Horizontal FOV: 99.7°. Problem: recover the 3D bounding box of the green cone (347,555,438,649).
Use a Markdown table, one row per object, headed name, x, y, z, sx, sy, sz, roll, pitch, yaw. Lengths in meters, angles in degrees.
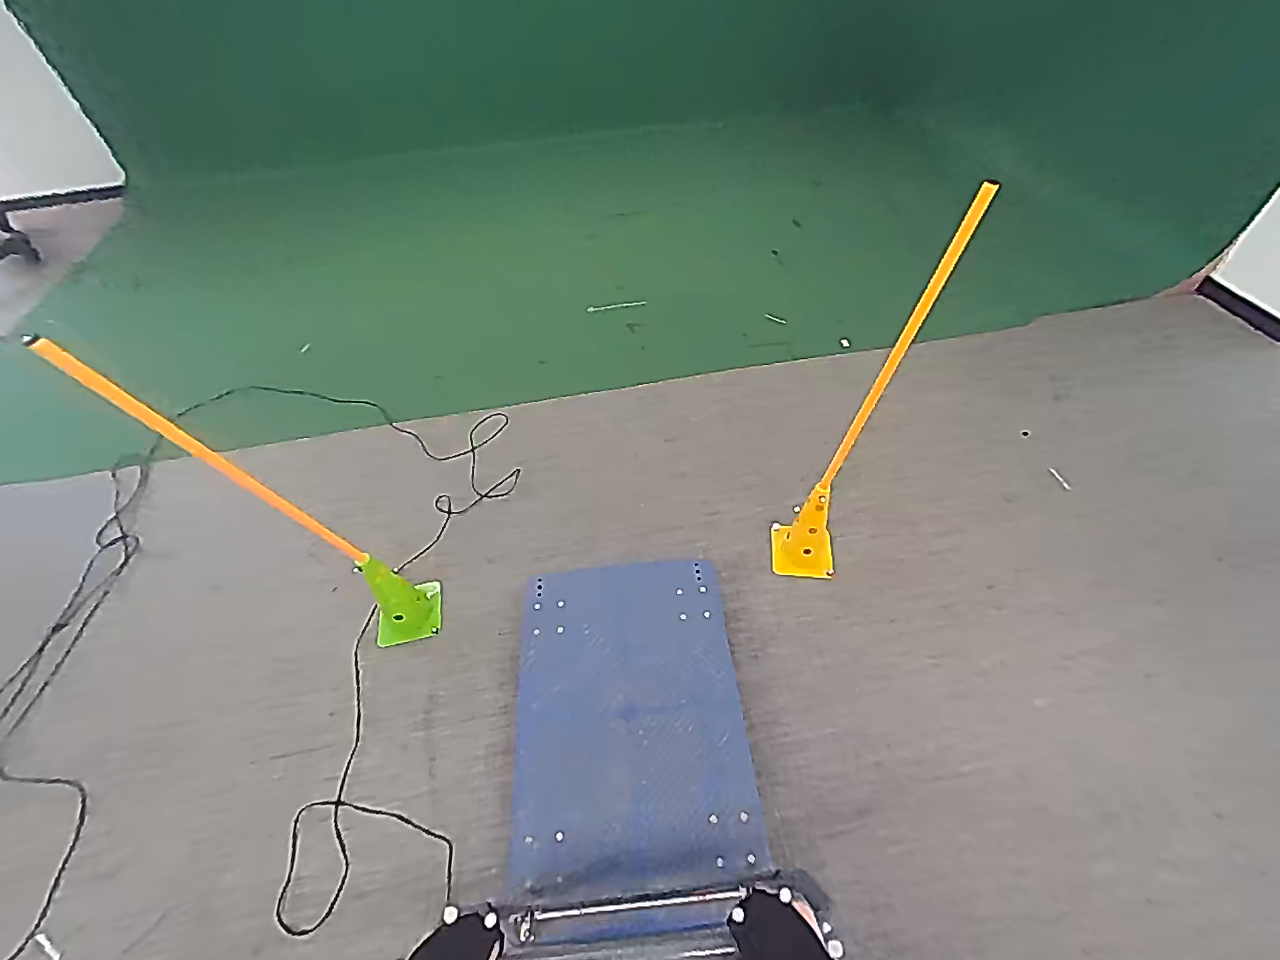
| name | x | y | z | sx | sy | sz | roll | pitch | yaw |
| --- | --- | --- | --- | --- | --- | --- | --- | --- | --- |
| green cone | -0.777 | 0.332 | 1.642 | 0.202 | 0.368 | 0.200 | -14 | 51 | -5 |
